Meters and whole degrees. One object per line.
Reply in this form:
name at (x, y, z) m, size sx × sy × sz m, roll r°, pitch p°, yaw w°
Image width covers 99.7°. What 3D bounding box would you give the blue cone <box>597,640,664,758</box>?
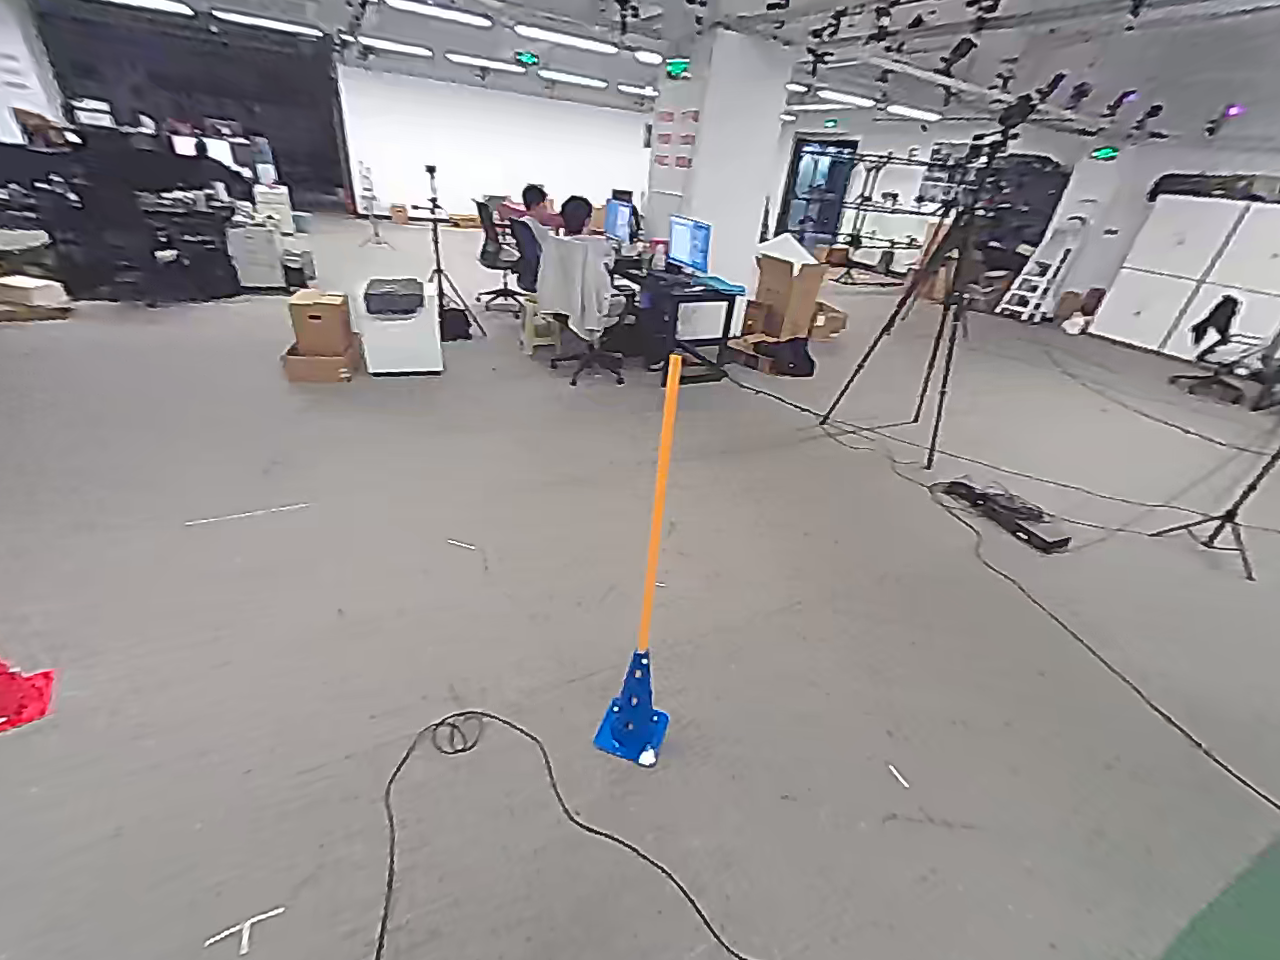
blue cone at (-0.012, 0.629, 1.626) m, size 0.192 × 0.380 × 0.193 m, roll 13°, pitch 29°, yaw 12°
